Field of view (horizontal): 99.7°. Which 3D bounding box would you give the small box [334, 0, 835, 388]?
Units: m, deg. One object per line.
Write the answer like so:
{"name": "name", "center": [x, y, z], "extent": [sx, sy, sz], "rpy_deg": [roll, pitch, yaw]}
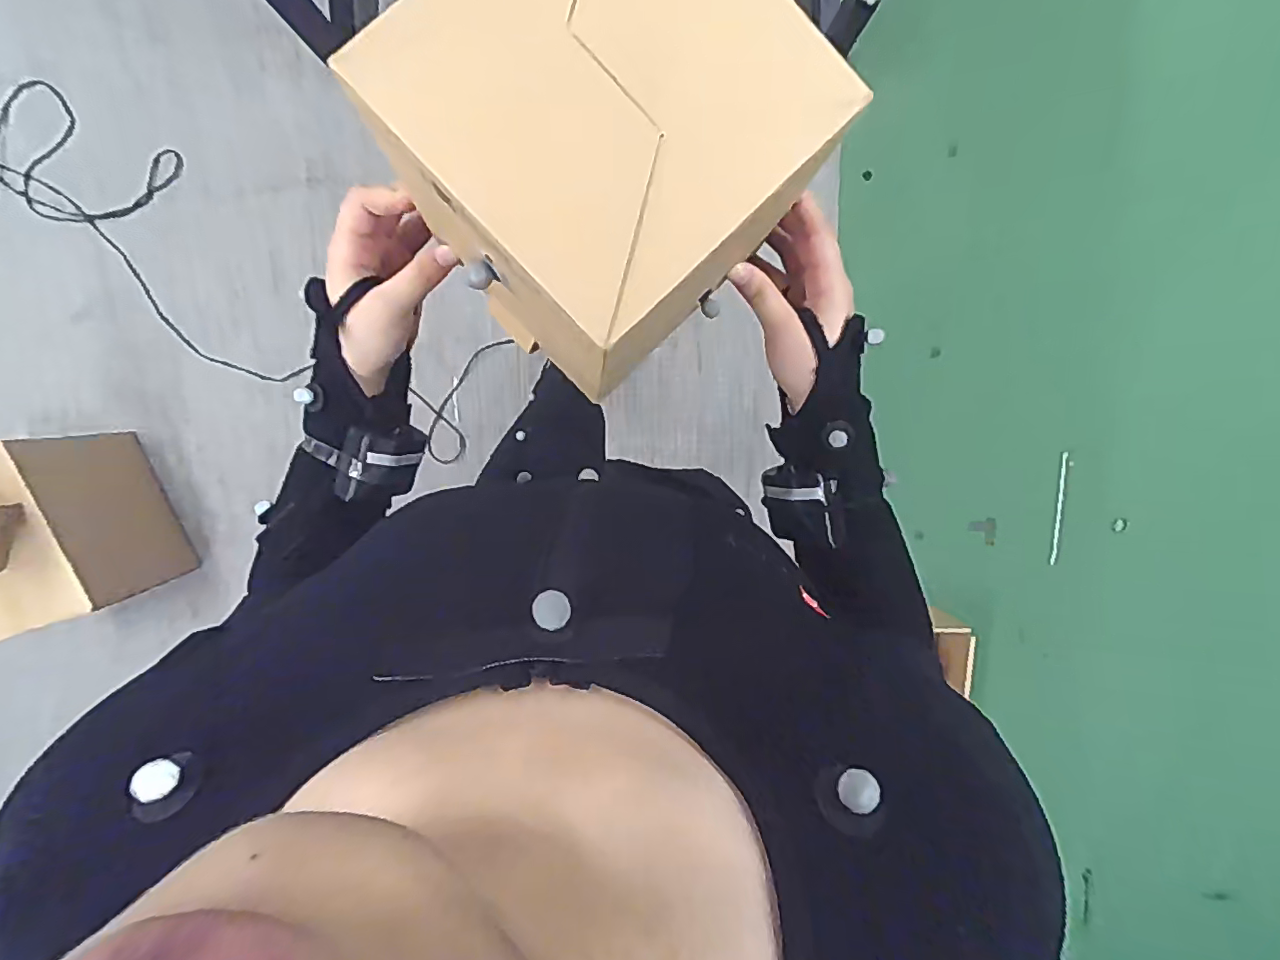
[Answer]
{"name": "small box", "center": [-0.025, -0.180, 0.315], "extent": [0.179, 0.176, 0.168], "rpy_deg": [-45, 94, -4]}

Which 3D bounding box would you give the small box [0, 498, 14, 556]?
{"name": "small box", "center": [-1.416, 0.104, 1.062], "extent": [0.179, 0.176, 0.168], "rpy_deg": [20, 97, -6]}
